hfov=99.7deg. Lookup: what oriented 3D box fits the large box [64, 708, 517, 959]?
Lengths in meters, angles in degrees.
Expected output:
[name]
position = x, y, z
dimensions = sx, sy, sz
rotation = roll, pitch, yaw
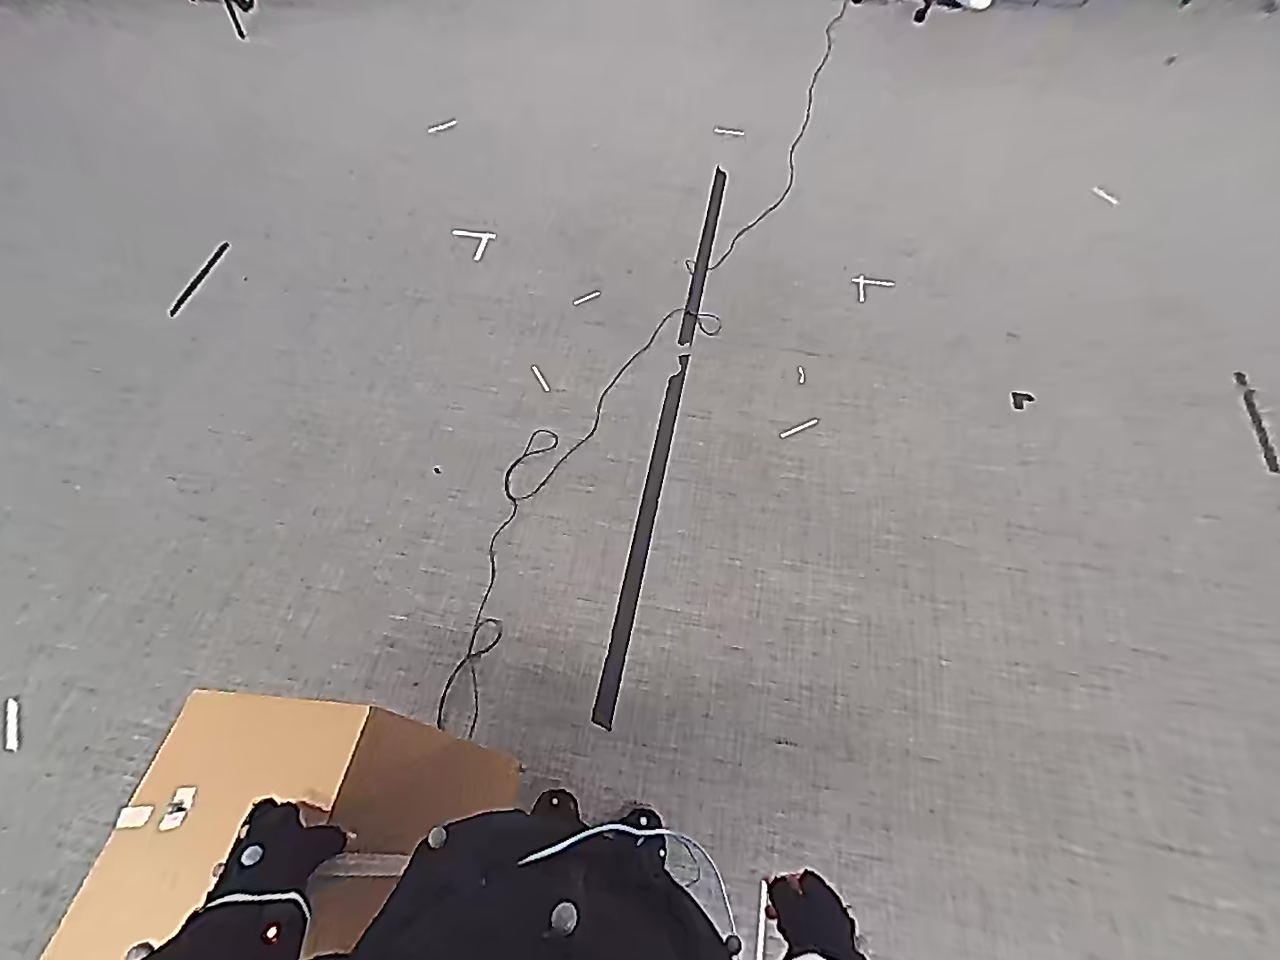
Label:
[large box]
position = -0.435, 0.537, 0.773
dimensions = 0.320, 0.408, 0.320
rotation = -2, 55, 18
